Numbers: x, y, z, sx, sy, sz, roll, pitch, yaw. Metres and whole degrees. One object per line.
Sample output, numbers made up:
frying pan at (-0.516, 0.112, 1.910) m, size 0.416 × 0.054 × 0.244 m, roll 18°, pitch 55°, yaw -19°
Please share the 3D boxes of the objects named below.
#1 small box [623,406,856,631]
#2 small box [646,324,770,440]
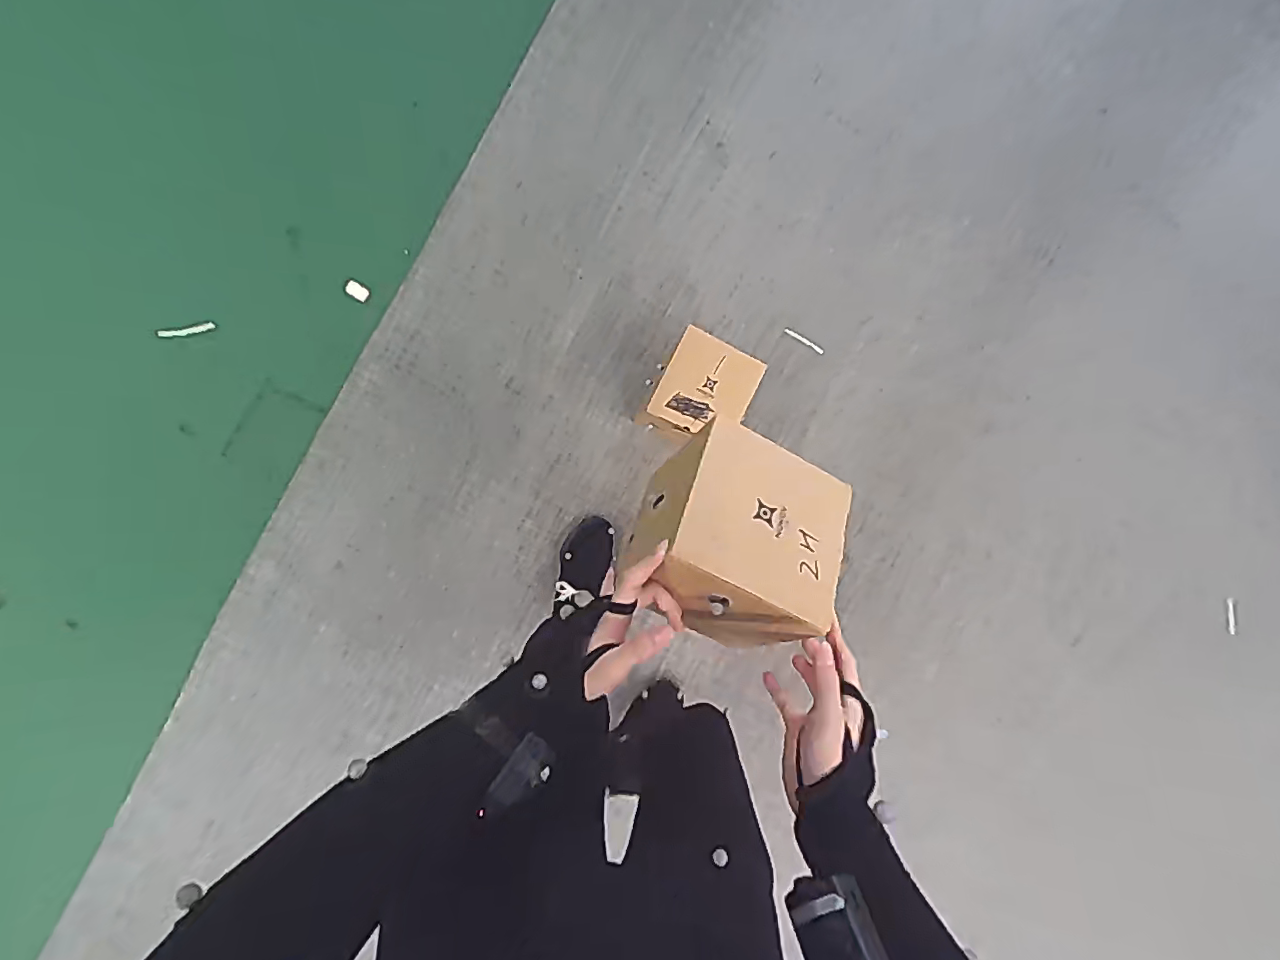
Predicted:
small box at (0.103, 0.056, 0.599) m, size 0.179 × 0.176 × 0.168 m, roll 29°, pitch 61°, yaw -12°
small box at (0.122, -0.171, 1.055) m, size 0.168 × 0.176 × 0.179 m, roll 26°, pitch 90°, yaw -6°
